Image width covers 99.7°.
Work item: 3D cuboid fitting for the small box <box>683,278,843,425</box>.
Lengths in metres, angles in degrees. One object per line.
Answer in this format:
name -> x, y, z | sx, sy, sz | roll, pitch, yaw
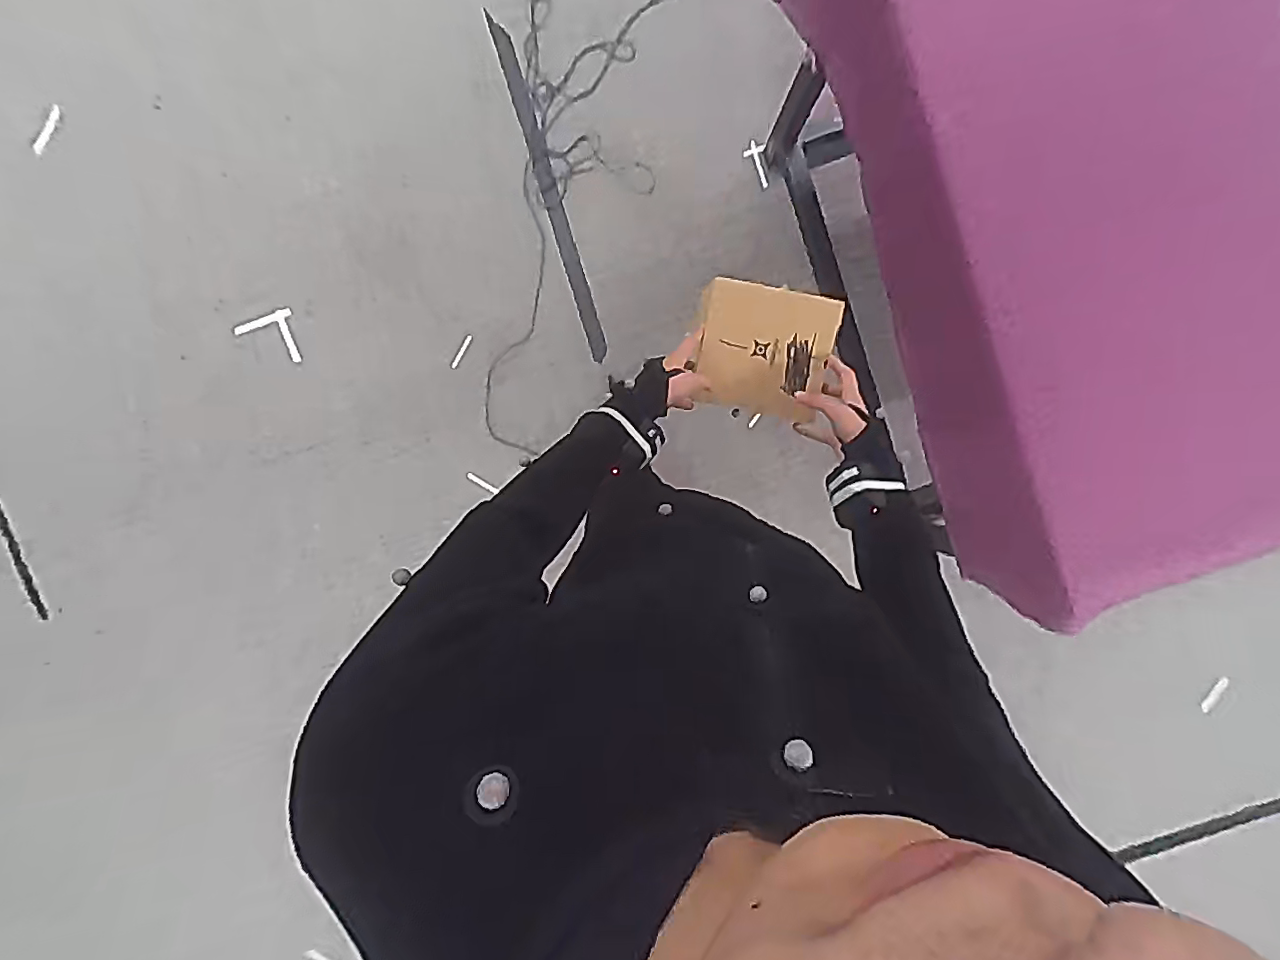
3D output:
small box -> 0.169, -0.188, 0.805 | 0.179, 0.176, 0.168 | 12, 102, -1
